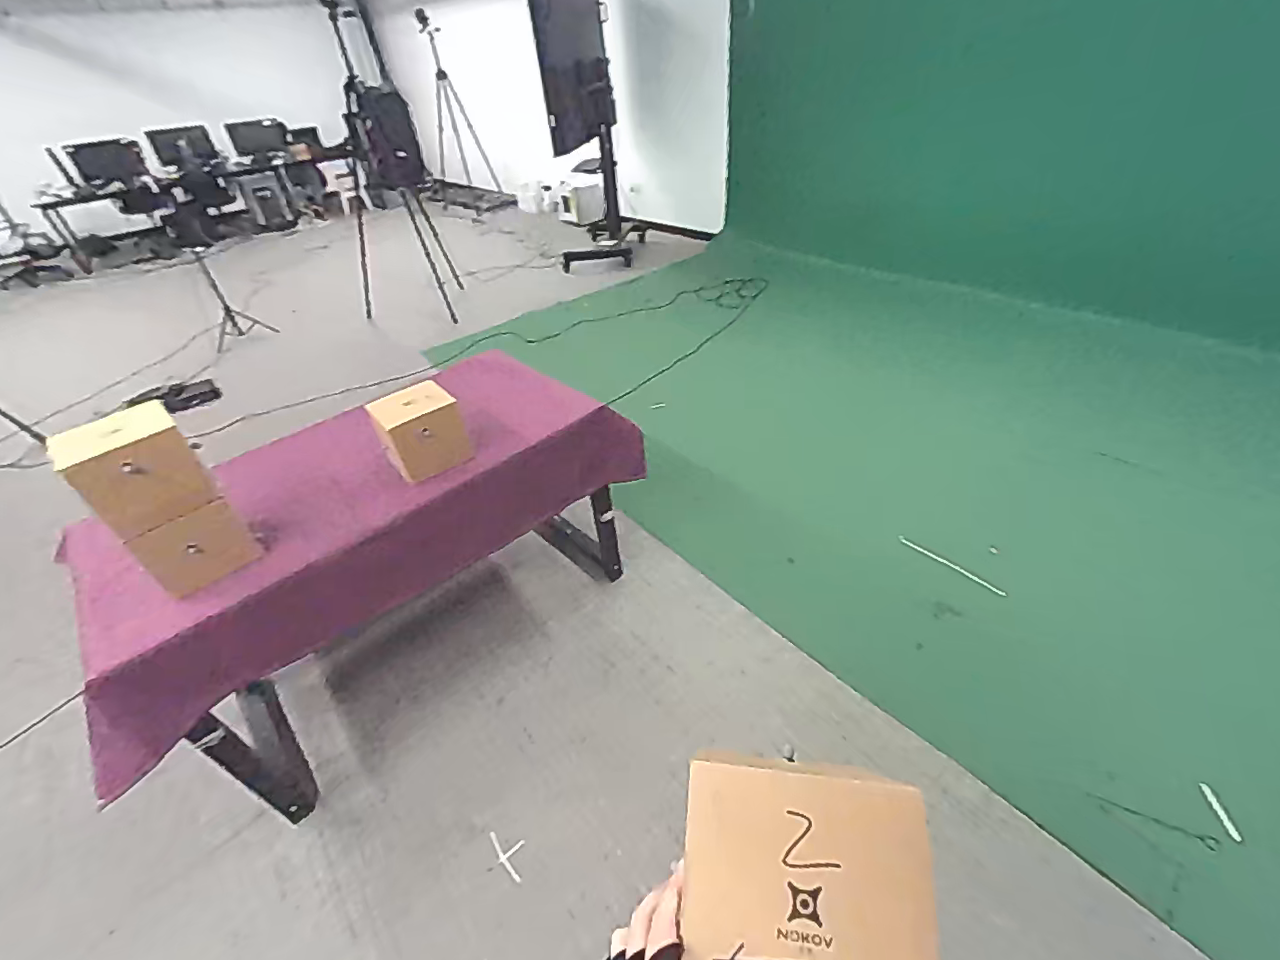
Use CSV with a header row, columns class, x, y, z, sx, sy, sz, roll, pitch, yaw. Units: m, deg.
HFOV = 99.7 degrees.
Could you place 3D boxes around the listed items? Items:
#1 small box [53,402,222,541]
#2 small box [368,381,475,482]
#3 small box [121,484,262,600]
class,x,y,z,sx,sy,sz,roll,pitch,yaw
small box,-0.939,-0.019,1.027,0.168,0.176,0.179,27,50,36
small box,-0.543,-0.121,1.360,0.179,0.176,0.168,-30,45,-27
small box,-0.927,0.111,1.125,0.168,0.176,0.179,28,51,36
